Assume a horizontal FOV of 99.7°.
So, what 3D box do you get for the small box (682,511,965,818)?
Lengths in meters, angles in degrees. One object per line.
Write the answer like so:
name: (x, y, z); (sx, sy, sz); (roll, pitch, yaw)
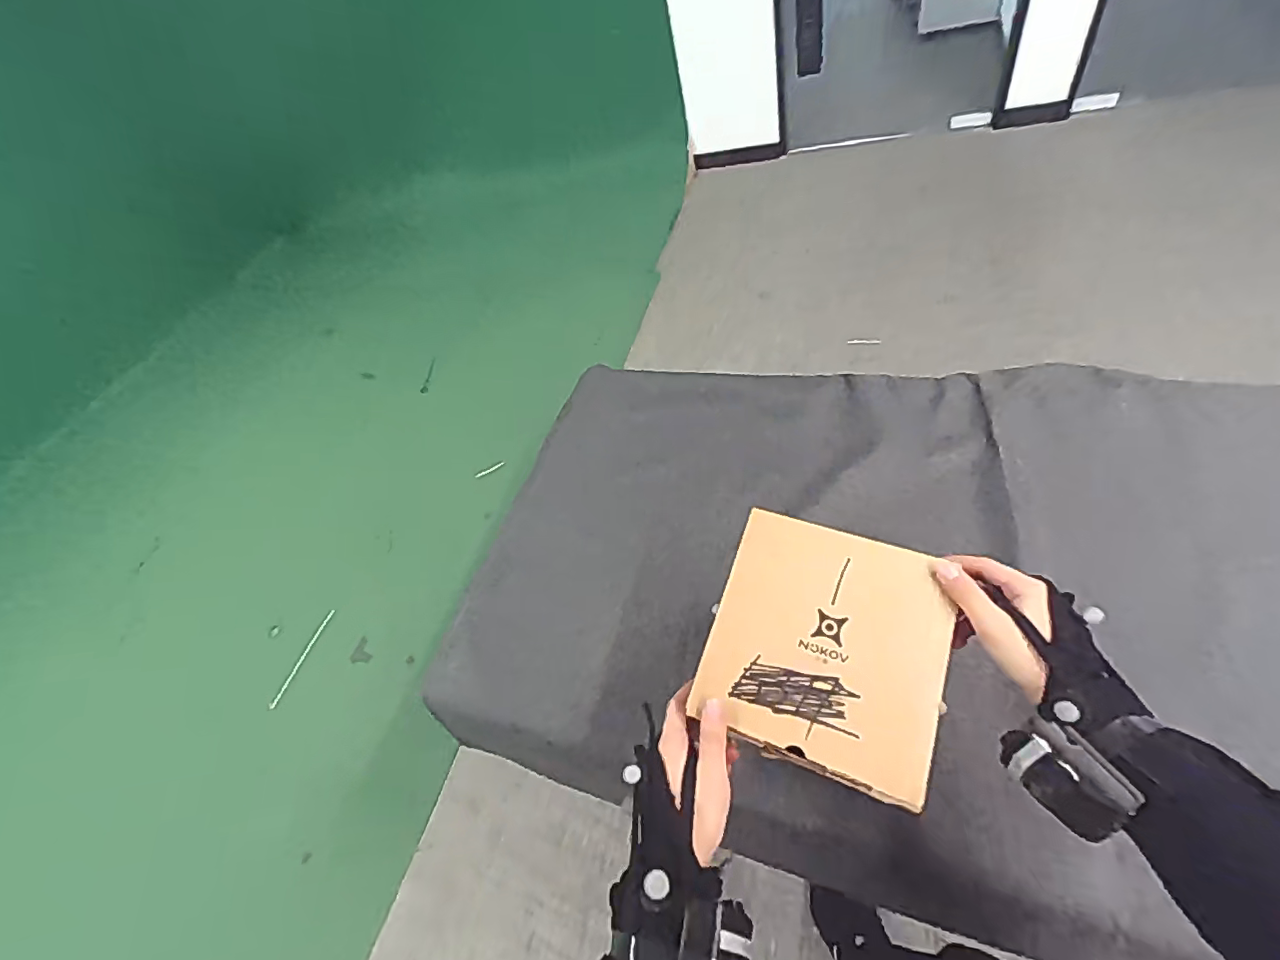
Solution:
small box: (0.153, 0.156, 0.469); (0.168, 0.176, 0.179); (17, 68, 20)
